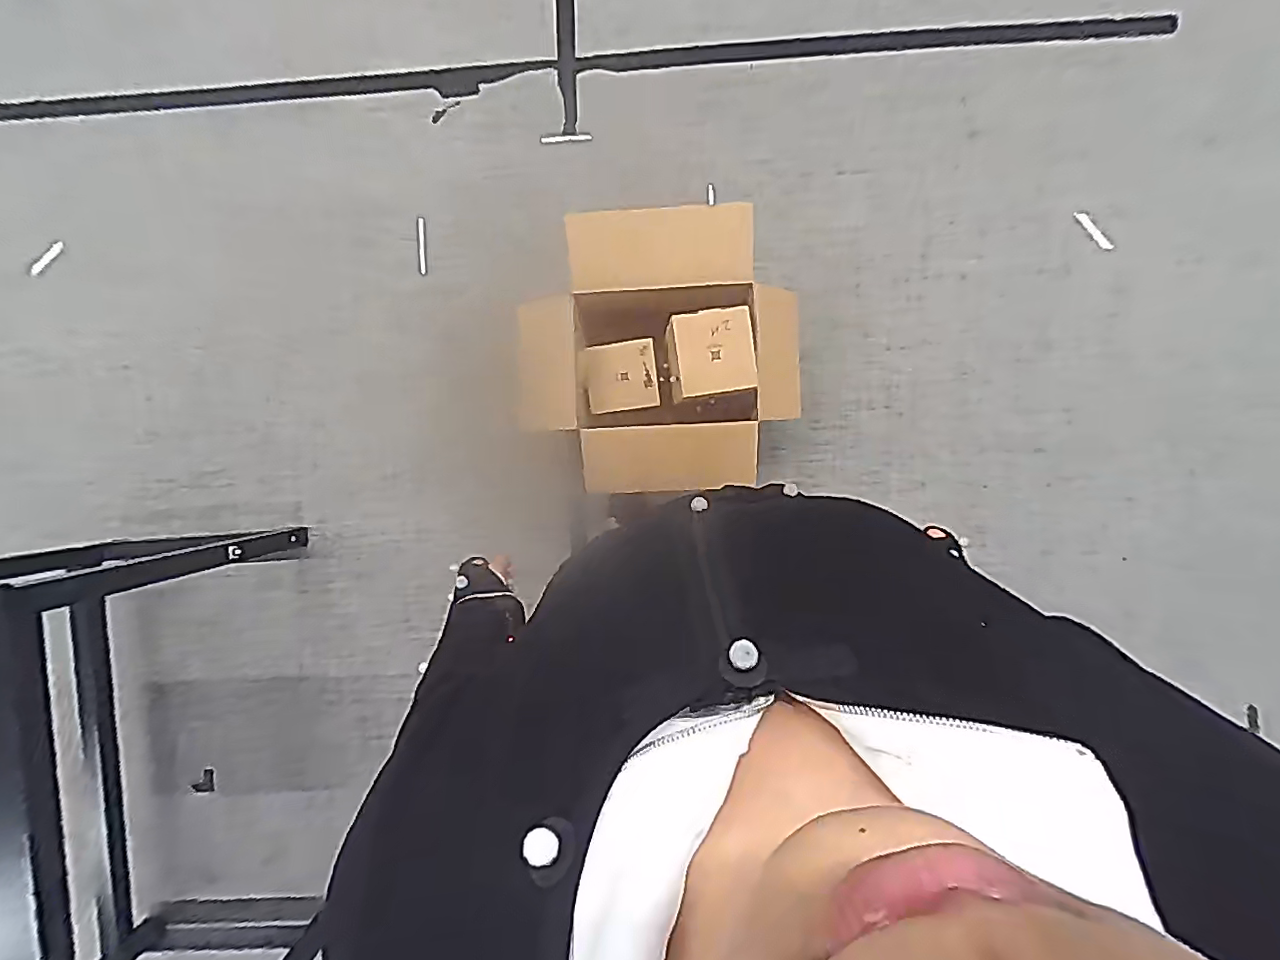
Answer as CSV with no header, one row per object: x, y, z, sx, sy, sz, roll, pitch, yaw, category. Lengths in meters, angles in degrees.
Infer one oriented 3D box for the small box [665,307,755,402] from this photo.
0.153,-0.273,1.220,0.168,0.176,0.179,-8,93,-2,small box
